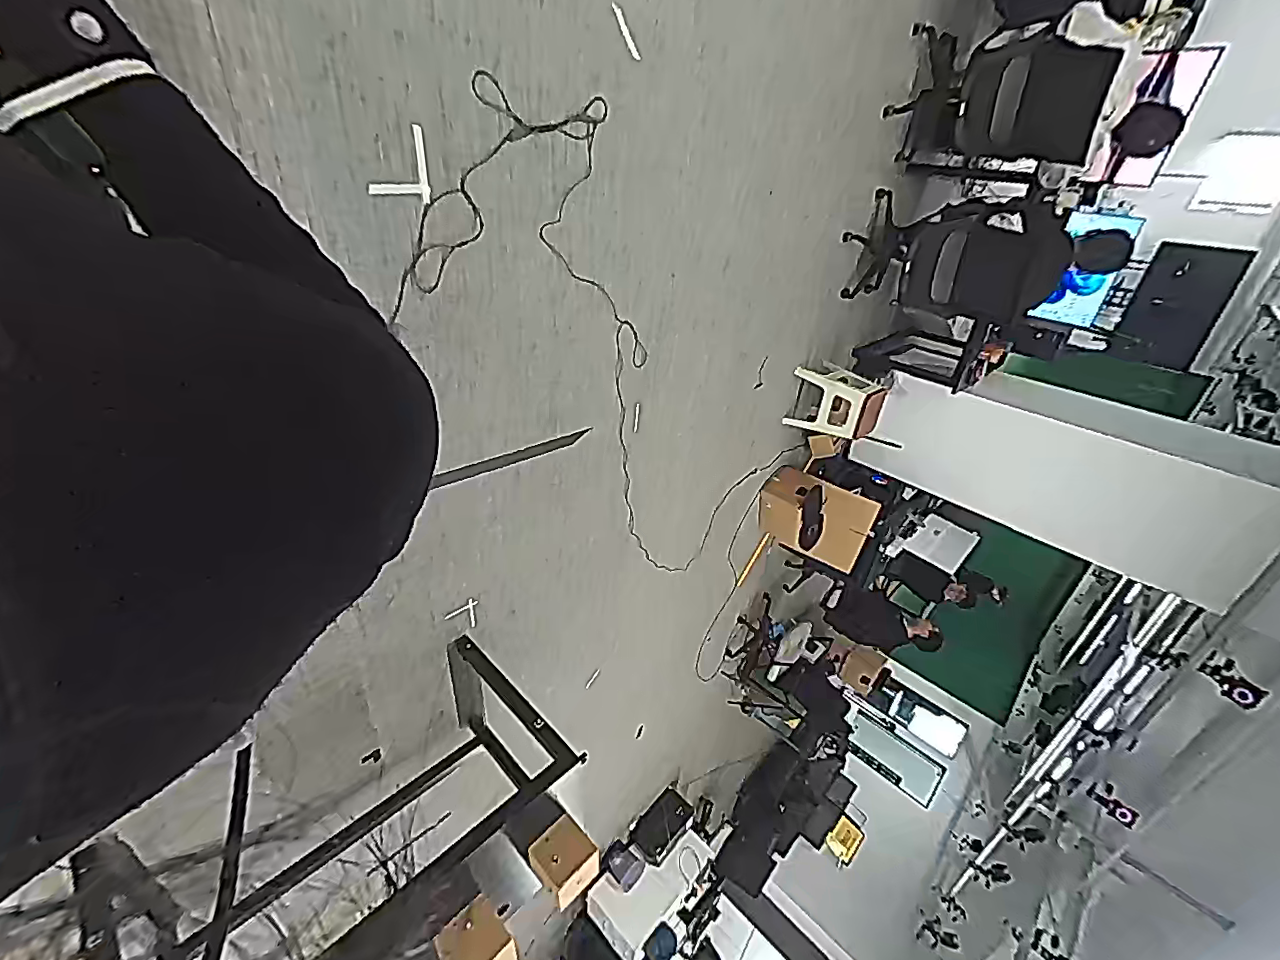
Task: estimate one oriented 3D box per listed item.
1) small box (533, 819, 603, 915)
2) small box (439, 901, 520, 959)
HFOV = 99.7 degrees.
[{"bbox_3d":[-0.241,1.279,1.802,0.168,0.176,0.179,-28,135,-36],"label":"small box"},{"bbox_3d":[-0.471,1.403,1.596,0.168,0.176,0.179,-27,132,-39],"label":"small box"}]
